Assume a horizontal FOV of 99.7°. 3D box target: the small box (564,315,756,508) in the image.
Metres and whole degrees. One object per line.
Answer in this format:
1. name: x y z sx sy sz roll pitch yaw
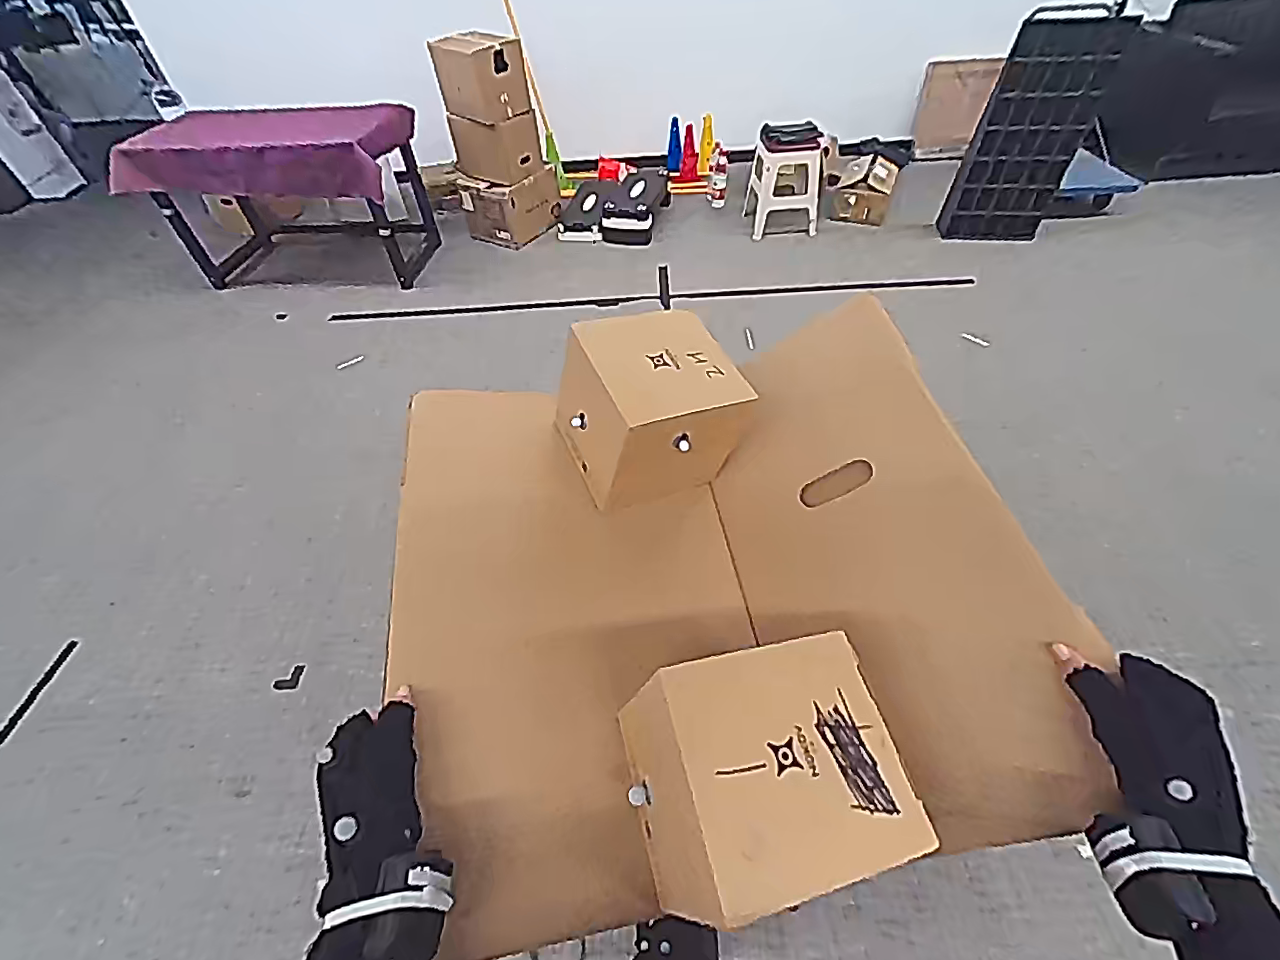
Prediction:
1. small box: 0.010 -0.085 0.692 0.179 0.176 0.168 -15 61 -25
